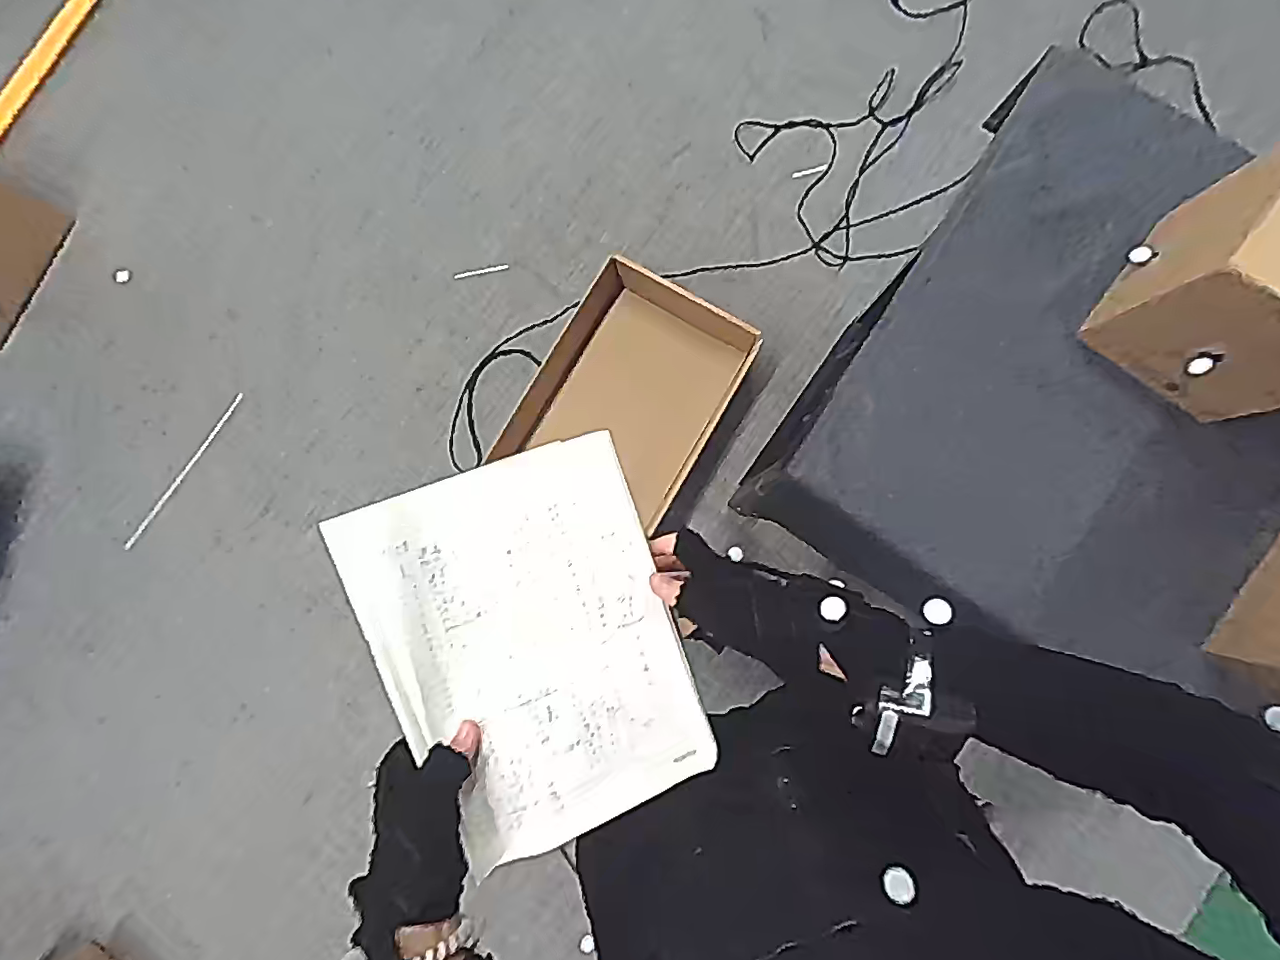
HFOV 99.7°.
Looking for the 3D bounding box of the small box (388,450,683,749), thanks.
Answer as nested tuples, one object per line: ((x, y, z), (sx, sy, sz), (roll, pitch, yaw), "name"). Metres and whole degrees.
((-0.081, 0.095, 0.497), (0.168, 0.176, 0.179), (-38, 87, -4), "small box")

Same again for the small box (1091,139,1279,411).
((0.591, -0.188, 0.512), (0.168, 0.176, 0.179), (37, 88, 5), "small box")
